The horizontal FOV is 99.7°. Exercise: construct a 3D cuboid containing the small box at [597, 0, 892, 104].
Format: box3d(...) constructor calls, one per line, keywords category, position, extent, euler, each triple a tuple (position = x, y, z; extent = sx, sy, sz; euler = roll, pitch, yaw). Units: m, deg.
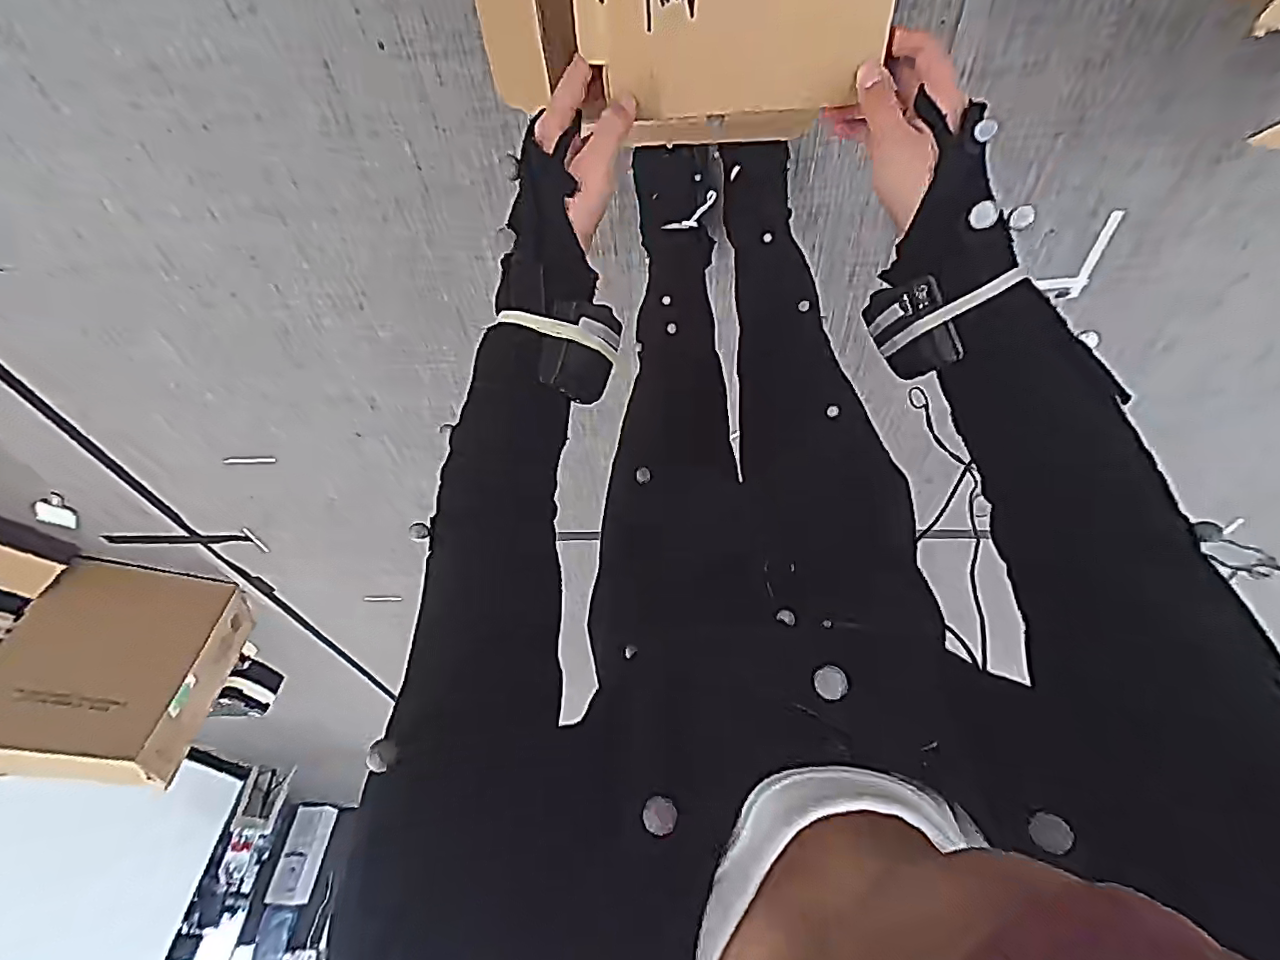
box3d(category="small box", position=(0.061, -0.361, 0.356), extent=(0.179, 0.176, 0.168), euler=(-3, 132, 2))
